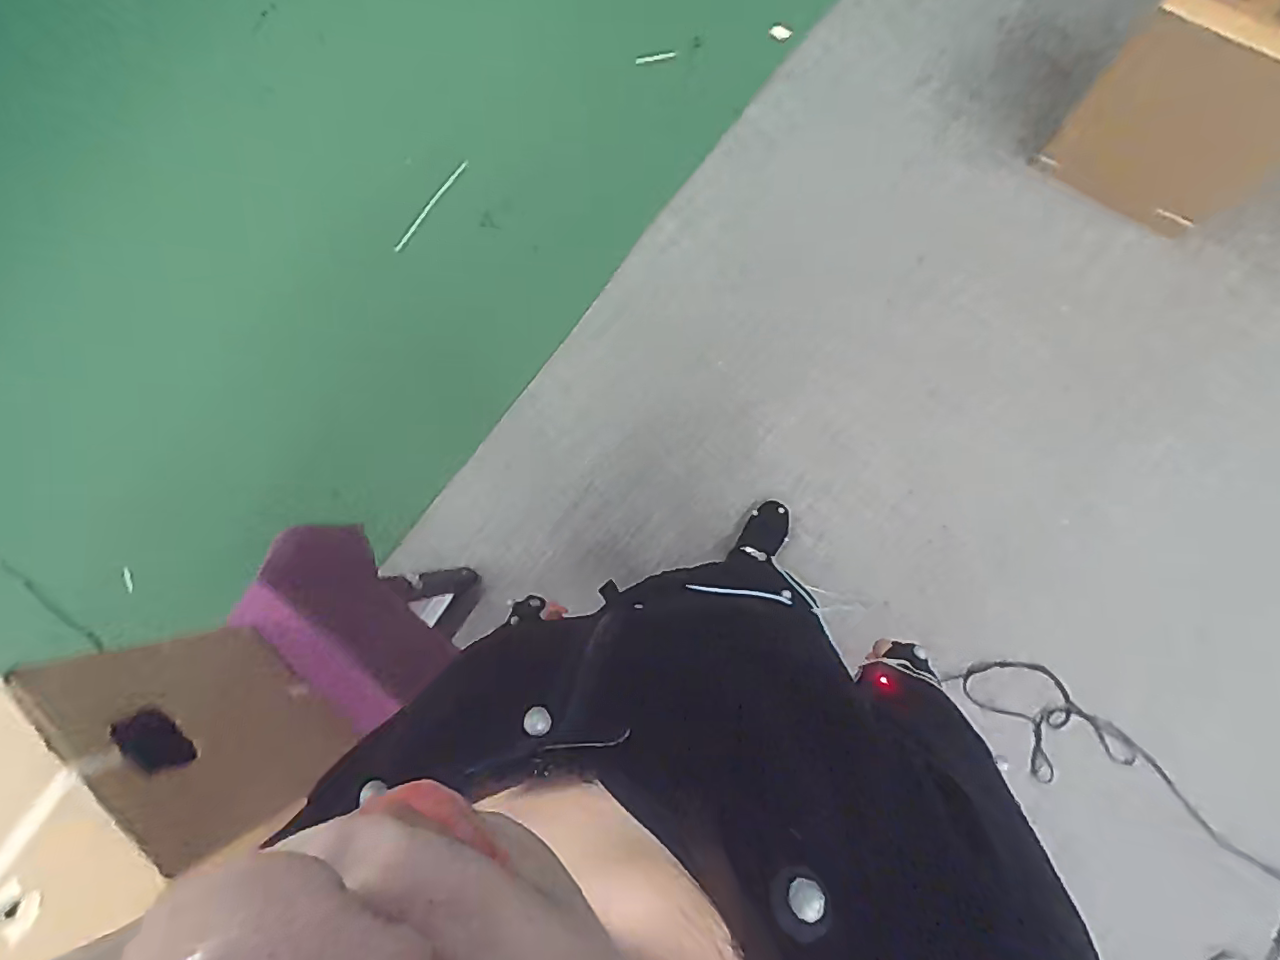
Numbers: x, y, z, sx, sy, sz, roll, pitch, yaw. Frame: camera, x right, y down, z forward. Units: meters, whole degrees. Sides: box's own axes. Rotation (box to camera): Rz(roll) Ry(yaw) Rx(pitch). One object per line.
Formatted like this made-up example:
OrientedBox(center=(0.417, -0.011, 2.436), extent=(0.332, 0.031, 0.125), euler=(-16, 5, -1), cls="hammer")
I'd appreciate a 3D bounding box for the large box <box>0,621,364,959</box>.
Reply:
OrientedBox(center=(-0.672, 0.453, 0.708), extent=(0.320, 0.320, 0.408), euler=(39, 90, 10), cls="large box")
